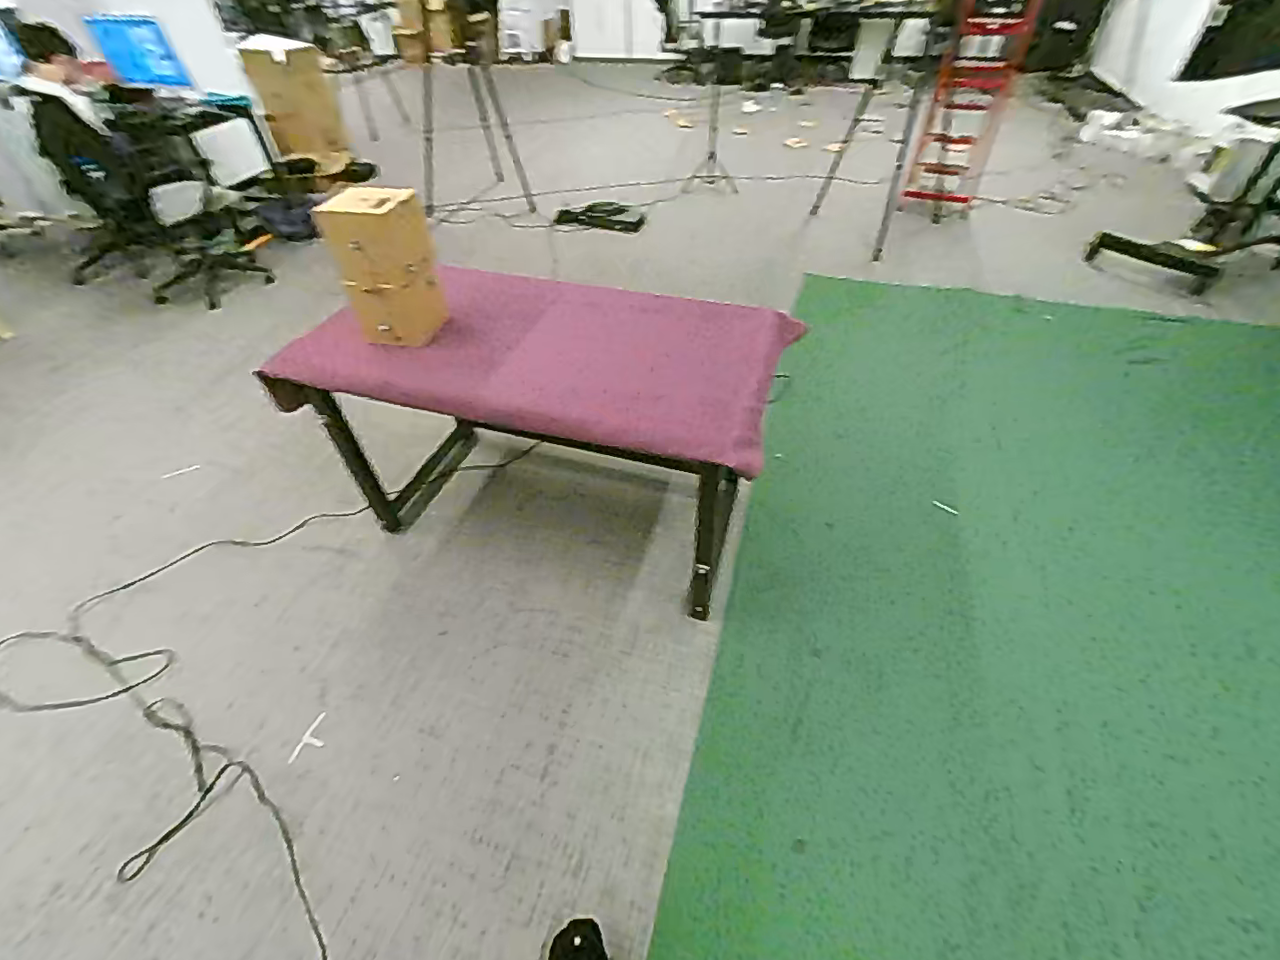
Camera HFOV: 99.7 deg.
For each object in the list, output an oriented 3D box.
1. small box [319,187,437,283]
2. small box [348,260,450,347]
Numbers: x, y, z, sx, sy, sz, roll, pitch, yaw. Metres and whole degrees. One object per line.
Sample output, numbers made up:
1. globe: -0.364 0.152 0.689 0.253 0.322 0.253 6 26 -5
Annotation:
1. small box: -0.626 -0.597 1.322 0.179 0.176 0.168 9 45 11
2. small box: -0.628 -0.478 1.439 0.168 0.176 0.179 7 46 10
